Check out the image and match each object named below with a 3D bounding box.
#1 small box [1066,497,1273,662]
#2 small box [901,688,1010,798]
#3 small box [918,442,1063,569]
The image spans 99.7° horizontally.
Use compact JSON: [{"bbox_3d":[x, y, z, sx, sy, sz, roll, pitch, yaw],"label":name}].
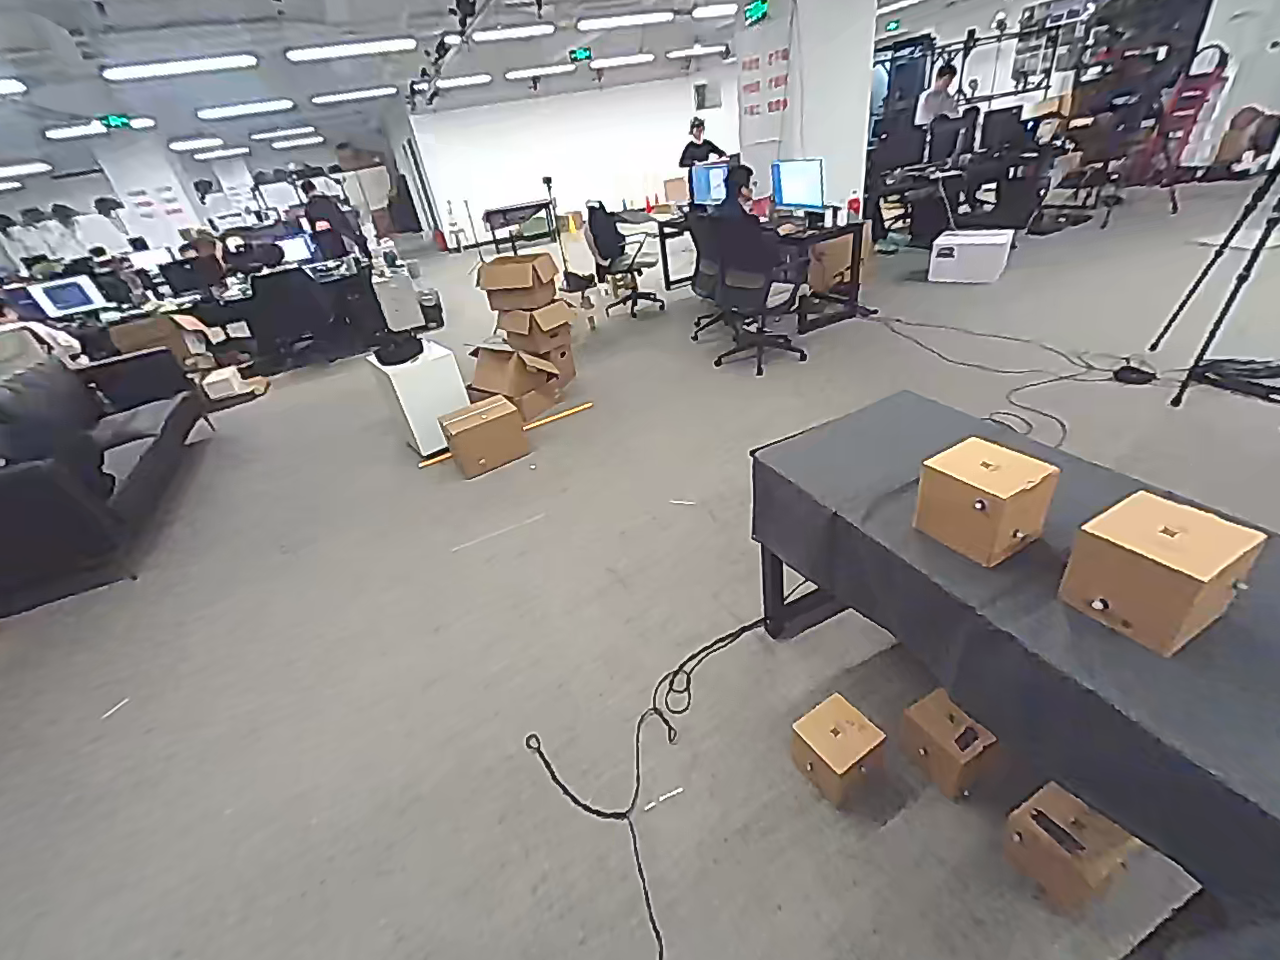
[{"bbox_3d":[0.850,0.159,0.888,0.179,0.176,0.168,-22,33,-18],"label":"small box"},{"bbox_3d":[0.818,0.695,1.418,0.168,0.176,0.179,-21,32,-18],"label":"small box"},{"bbox_3d":[0.700,0.050,1.101,0.168,0.176,0.179,-23,35,-20],"label":"small box"}]
